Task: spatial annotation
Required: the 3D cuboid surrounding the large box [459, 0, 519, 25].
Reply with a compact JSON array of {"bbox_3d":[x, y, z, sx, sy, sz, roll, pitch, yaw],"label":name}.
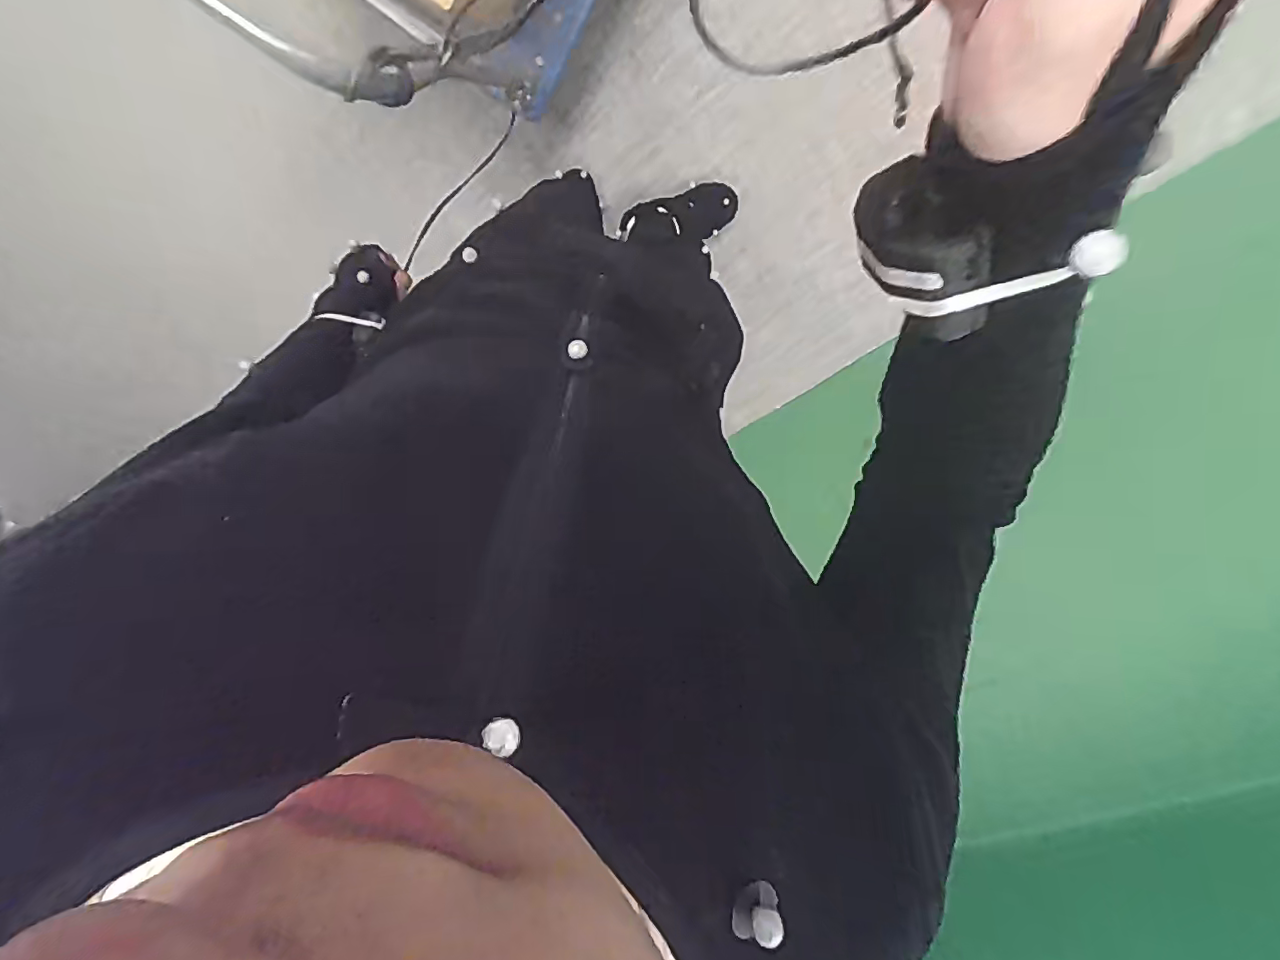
[{"bbox_3d":[-0.282,-0.990,0.775,0.320,0.320,0.408,30,121,-16],"label":"large box"}]
